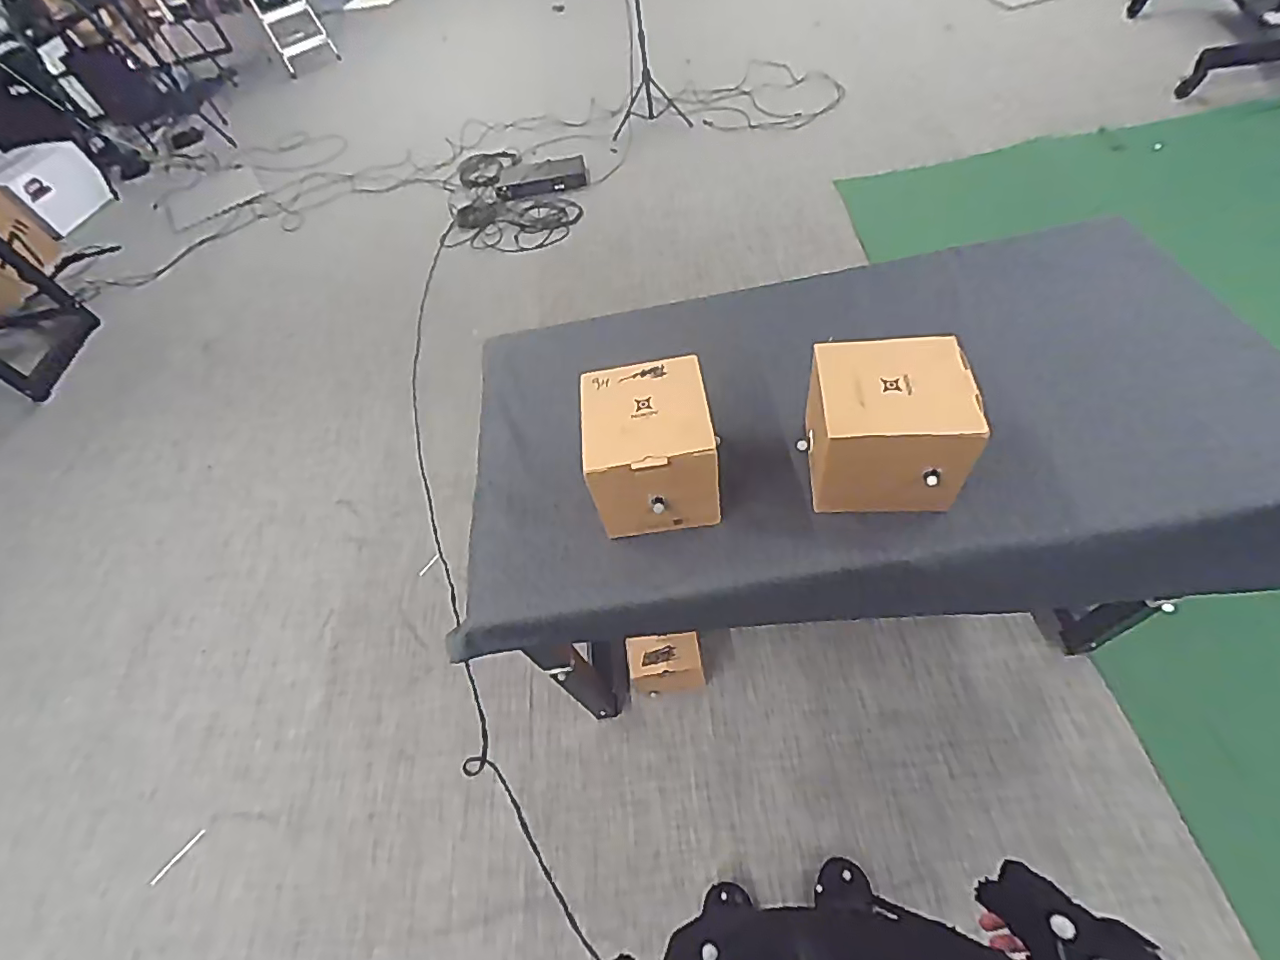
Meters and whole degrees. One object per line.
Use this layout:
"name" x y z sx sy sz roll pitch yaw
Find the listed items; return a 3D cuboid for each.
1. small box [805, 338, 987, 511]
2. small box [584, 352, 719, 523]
"small box" 0.325 -0.069 0.729 0.179 0.176 0.168 -1 55 11
"small box" 0.019 -0.050 0.767 0.168 0.176 0.179 -7 55 5
